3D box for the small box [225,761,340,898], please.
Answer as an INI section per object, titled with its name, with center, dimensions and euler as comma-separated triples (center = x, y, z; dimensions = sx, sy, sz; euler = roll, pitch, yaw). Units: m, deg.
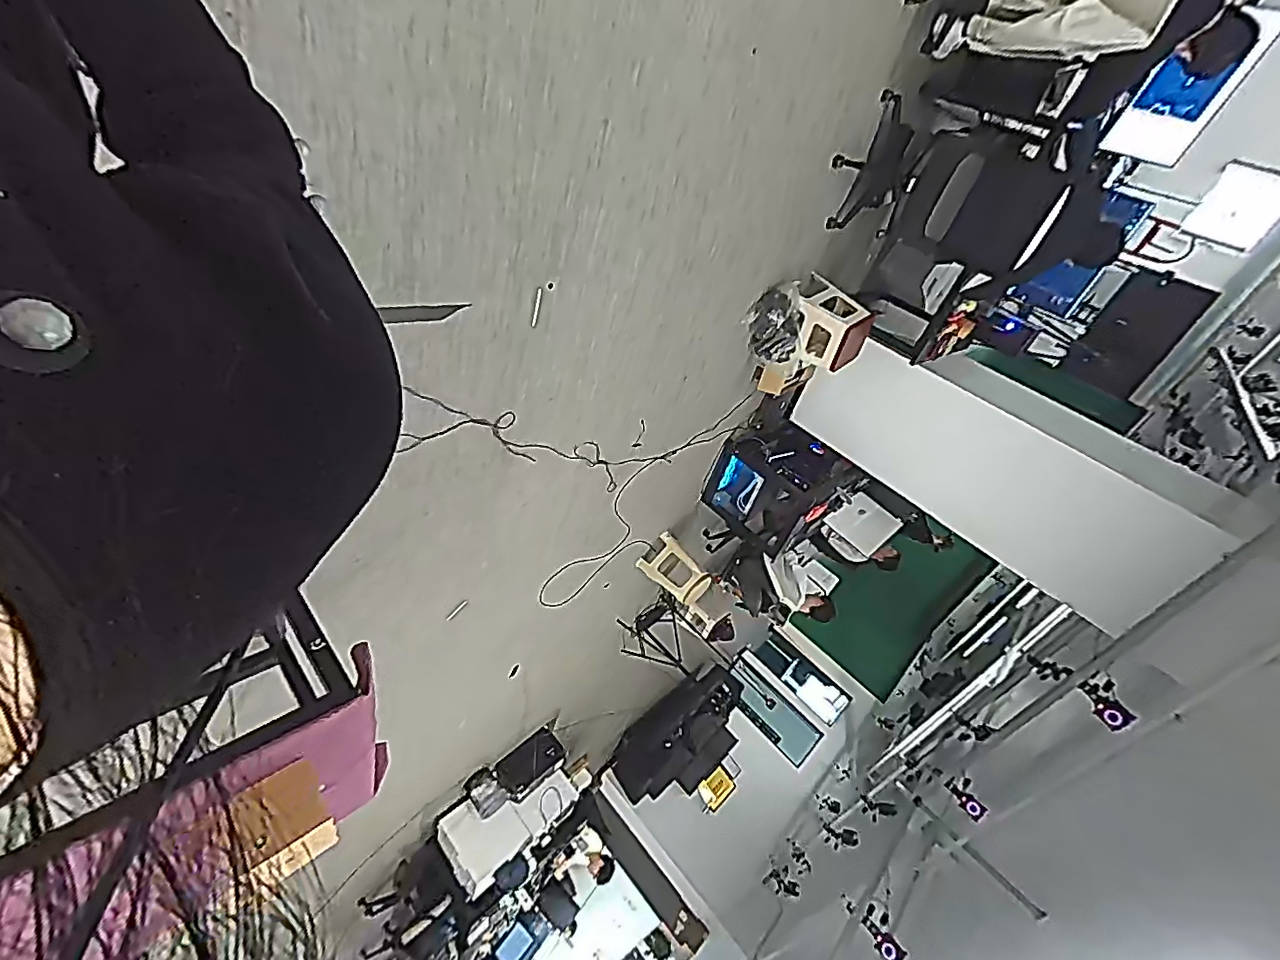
[small box]
center = -0.818, 0.793, 1.238
dimensions = 0.179, 0.176, 0.168
euler = -24, 145, -41
